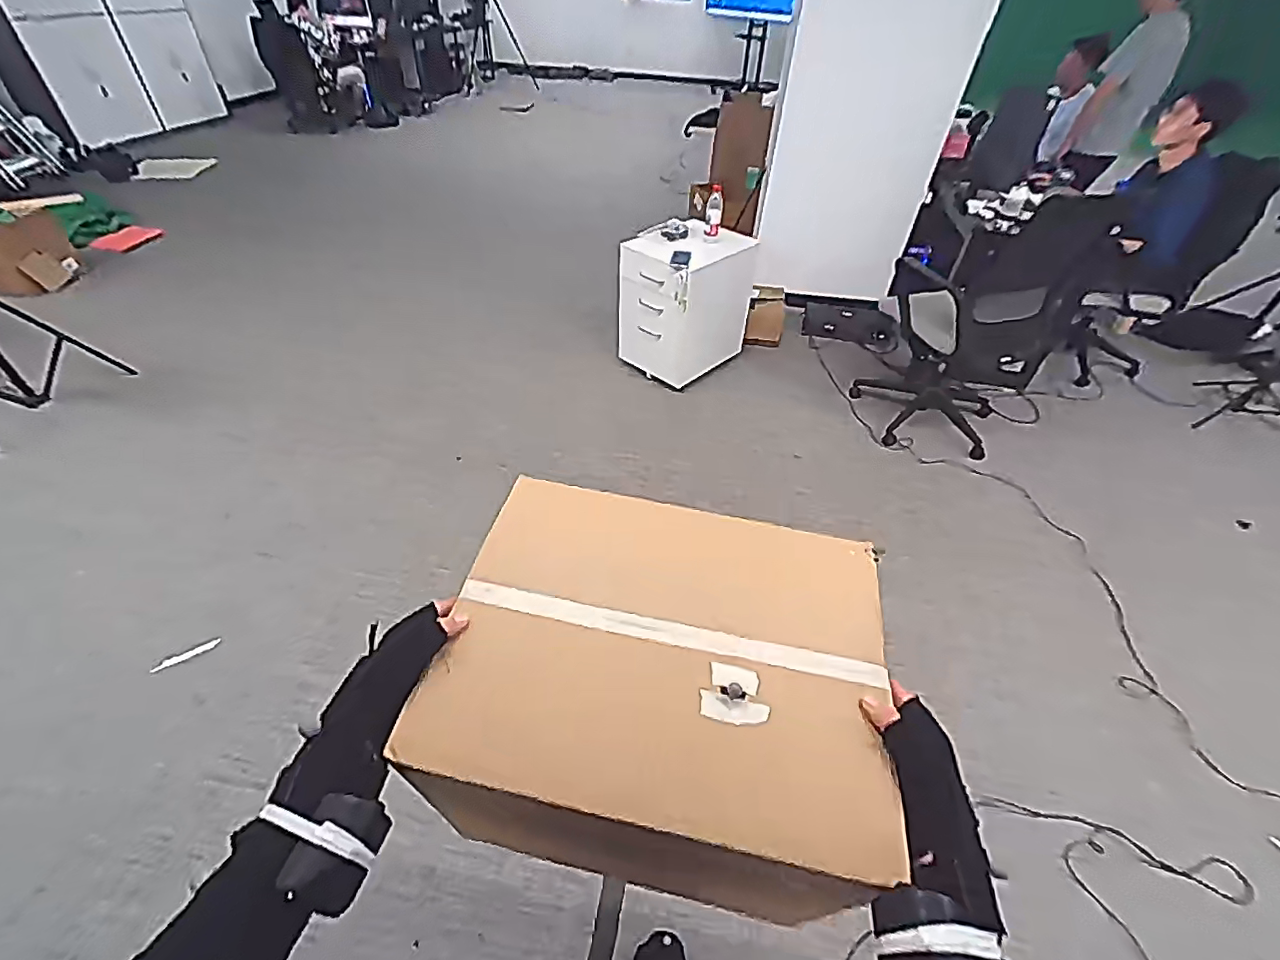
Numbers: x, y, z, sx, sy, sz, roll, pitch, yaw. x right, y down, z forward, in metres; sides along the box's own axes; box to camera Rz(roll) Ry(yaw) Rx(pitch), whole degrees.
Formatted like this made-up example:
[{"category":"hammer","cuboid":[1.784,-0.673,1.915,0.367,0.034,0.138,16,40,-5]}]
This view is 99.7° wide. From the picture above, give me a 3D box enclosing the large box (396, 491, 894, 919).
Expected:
[{"category":"large box","cuboid":[0.013,0.256,0.624,0.408,0.320,0.320,11,48,5]}]
